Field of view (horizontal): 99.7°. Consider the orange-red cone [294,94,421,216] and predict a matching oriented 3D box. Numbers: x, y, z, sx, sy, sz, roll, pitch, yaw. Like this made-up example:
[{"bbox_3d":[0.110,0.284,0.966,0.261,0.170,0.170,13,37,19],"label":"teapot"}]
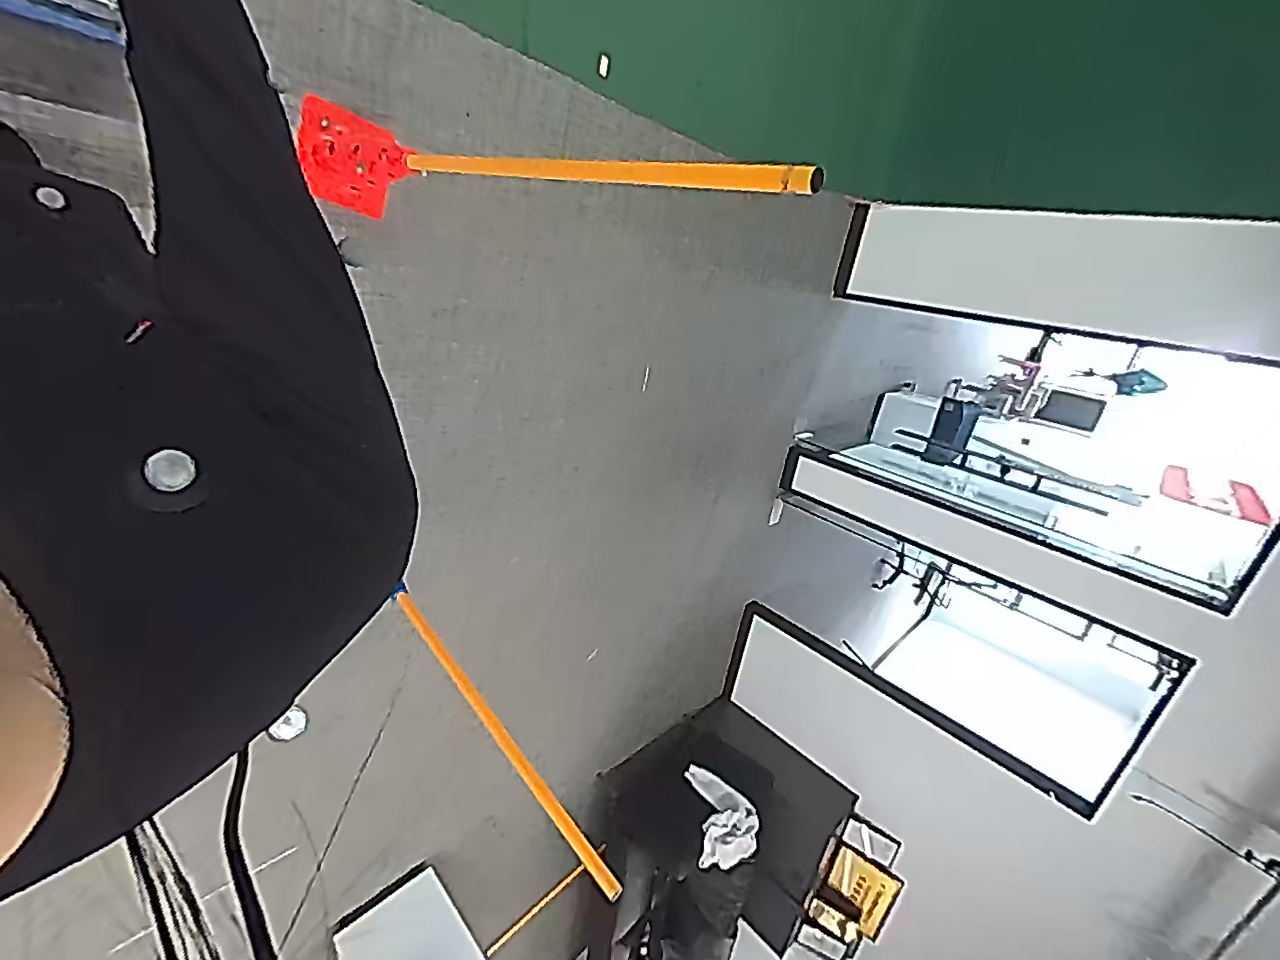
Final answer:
[{"bbox_3d":[-0.558,-0.679,1.144,0.198,0.360,0.199,3,110,-49],"label":"orange-red cone"}]
